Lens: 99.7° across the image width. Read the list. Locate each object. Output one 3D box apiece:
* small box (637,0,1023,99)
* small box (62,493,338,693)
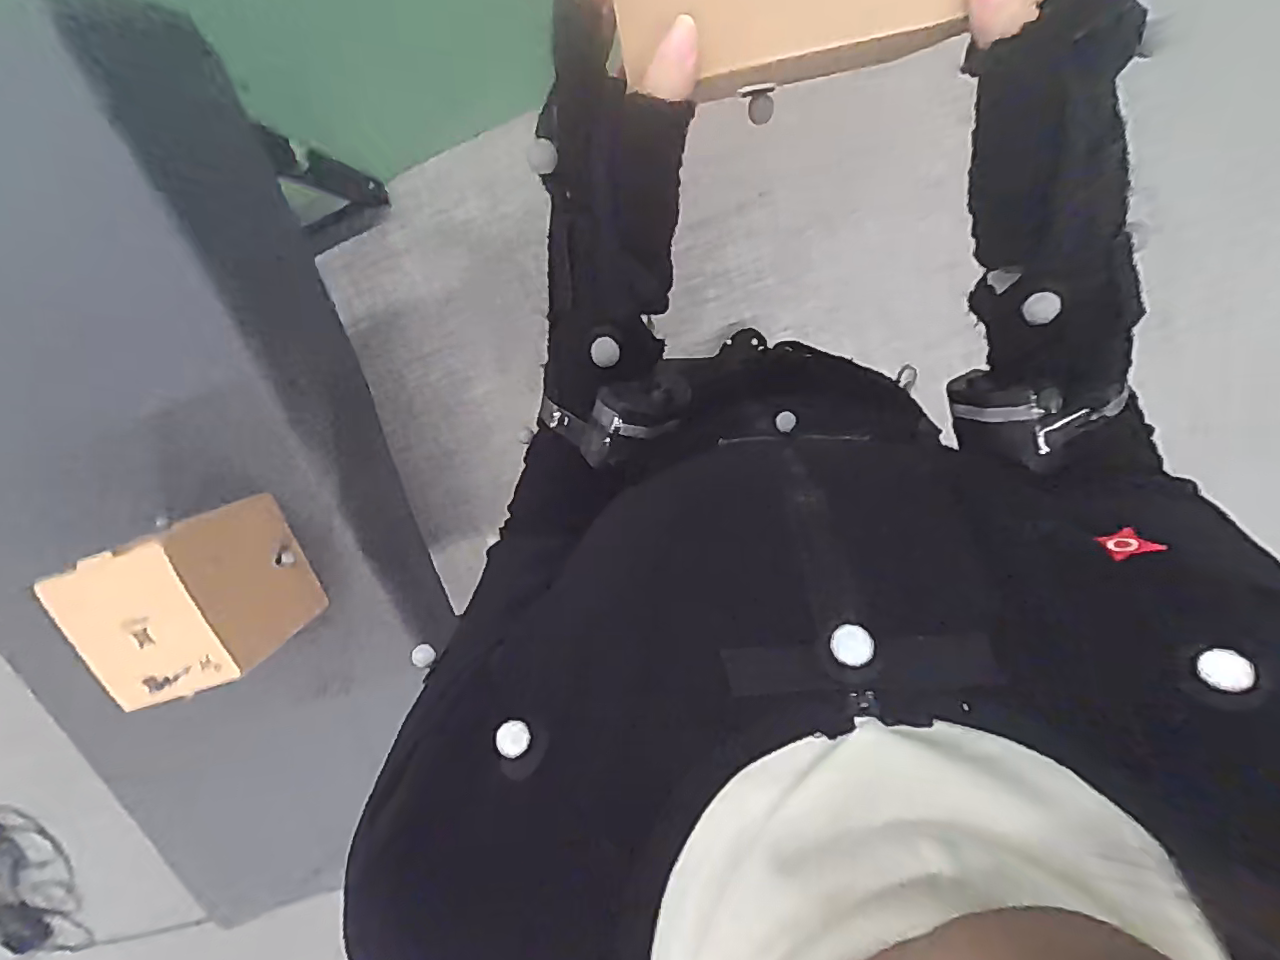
[{"bbox_3d":[0.074,-0.298,0.245,0.168,0.176,0.179,-6,122,9],"label":"small box"},{"bbox_3d":[-0.533,0.128,0.684,0.168,0.176,0.179,-18,105,9],"label":"small box"}]
